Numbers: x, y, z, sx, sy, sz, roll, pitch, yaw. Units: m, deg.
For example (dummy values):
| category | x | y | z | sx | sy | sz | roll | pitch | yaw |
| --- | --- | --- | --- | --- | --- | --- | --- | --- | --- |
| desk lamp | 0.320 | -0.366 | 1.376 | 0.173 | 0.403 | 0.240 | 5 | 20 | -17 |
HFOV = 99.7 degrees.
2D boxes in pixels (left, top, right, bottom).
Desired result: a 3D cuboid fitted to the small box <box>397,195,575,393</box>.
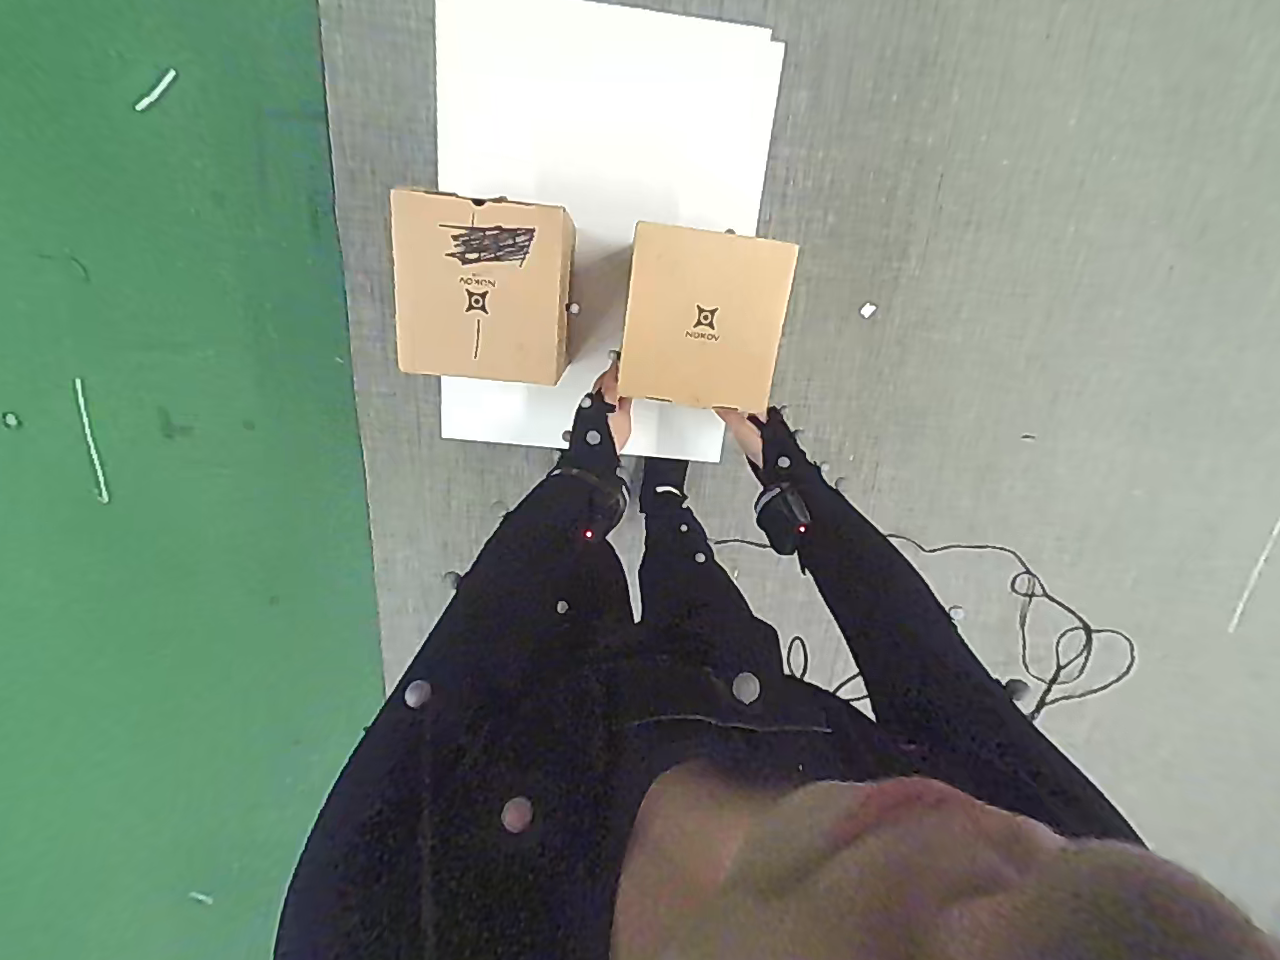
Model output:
| category | x | y | z | sx | sy | sz | roll | pitch | yaw |
| --- | --- | --- | --- | --- | --- | --- | --- | --- | --- |
| small box | -0.166 | -0.208 | 0.623 | 0.168 | 0.176 | 0.179 | 5 | 109 | -4 |

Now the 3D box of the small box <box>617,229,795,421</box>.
| category | x | y | z | sx | sy | sz | roll | pitch | yaw |
| --- | --- | --- | --- | --- | --- | --- | --- | --- | --- |
| small box | 0.064 | -0.180 | 0.639 | 0.168 | 0.176 | 0.179 | 7 | 108 | -3 |
